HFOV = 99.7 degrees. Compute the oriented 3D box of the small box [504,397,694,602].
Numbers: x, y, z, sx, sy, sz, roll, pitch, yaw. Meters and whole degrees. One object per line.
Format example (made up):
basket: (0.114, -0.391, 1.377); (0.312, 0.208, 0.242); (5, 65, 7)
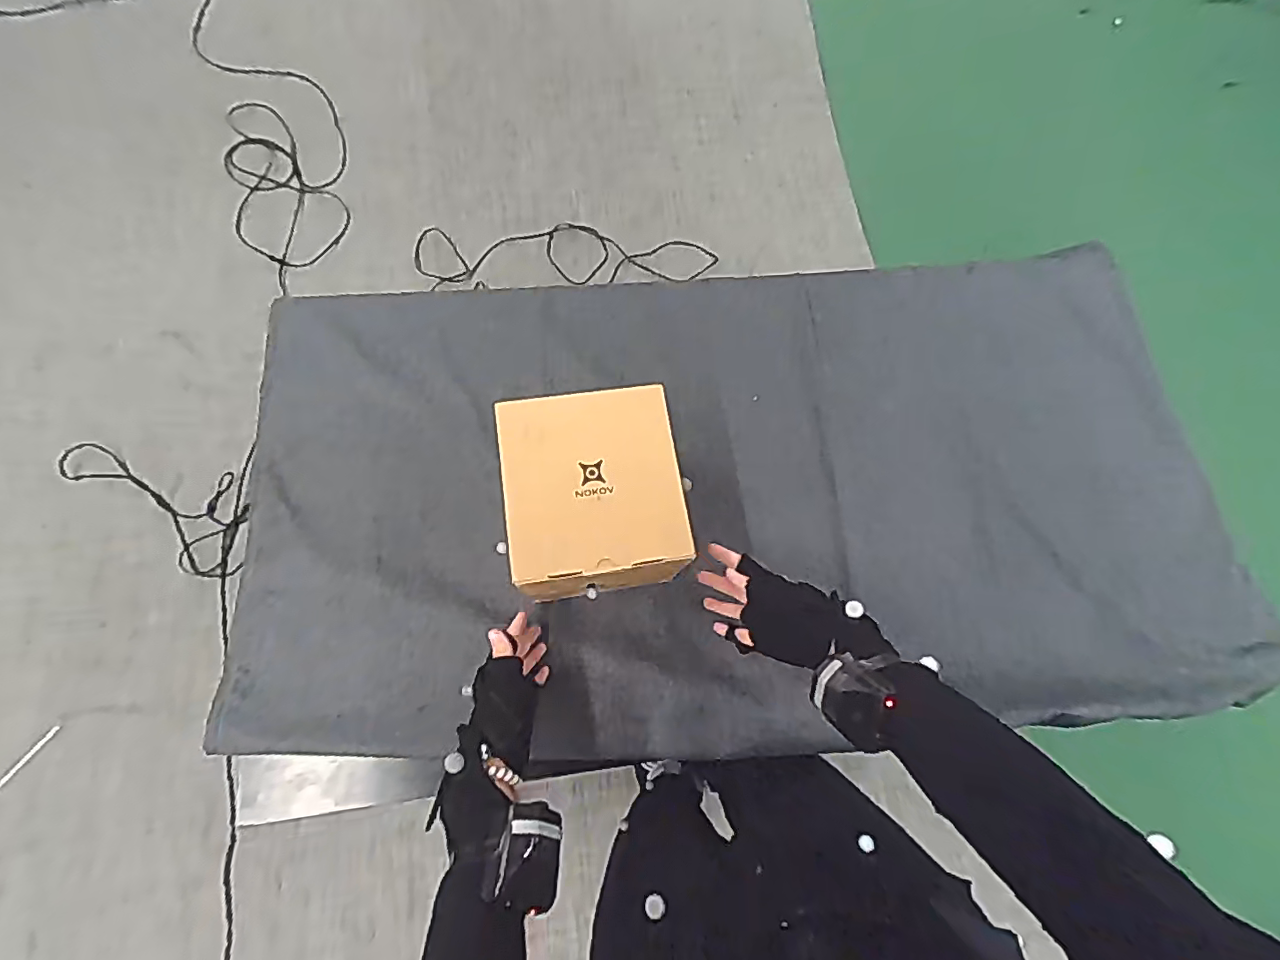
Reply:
small box: (-0.050, 0.029, 0.588); (0.168, 0.176, 0.179); (-7, 75, -8)
